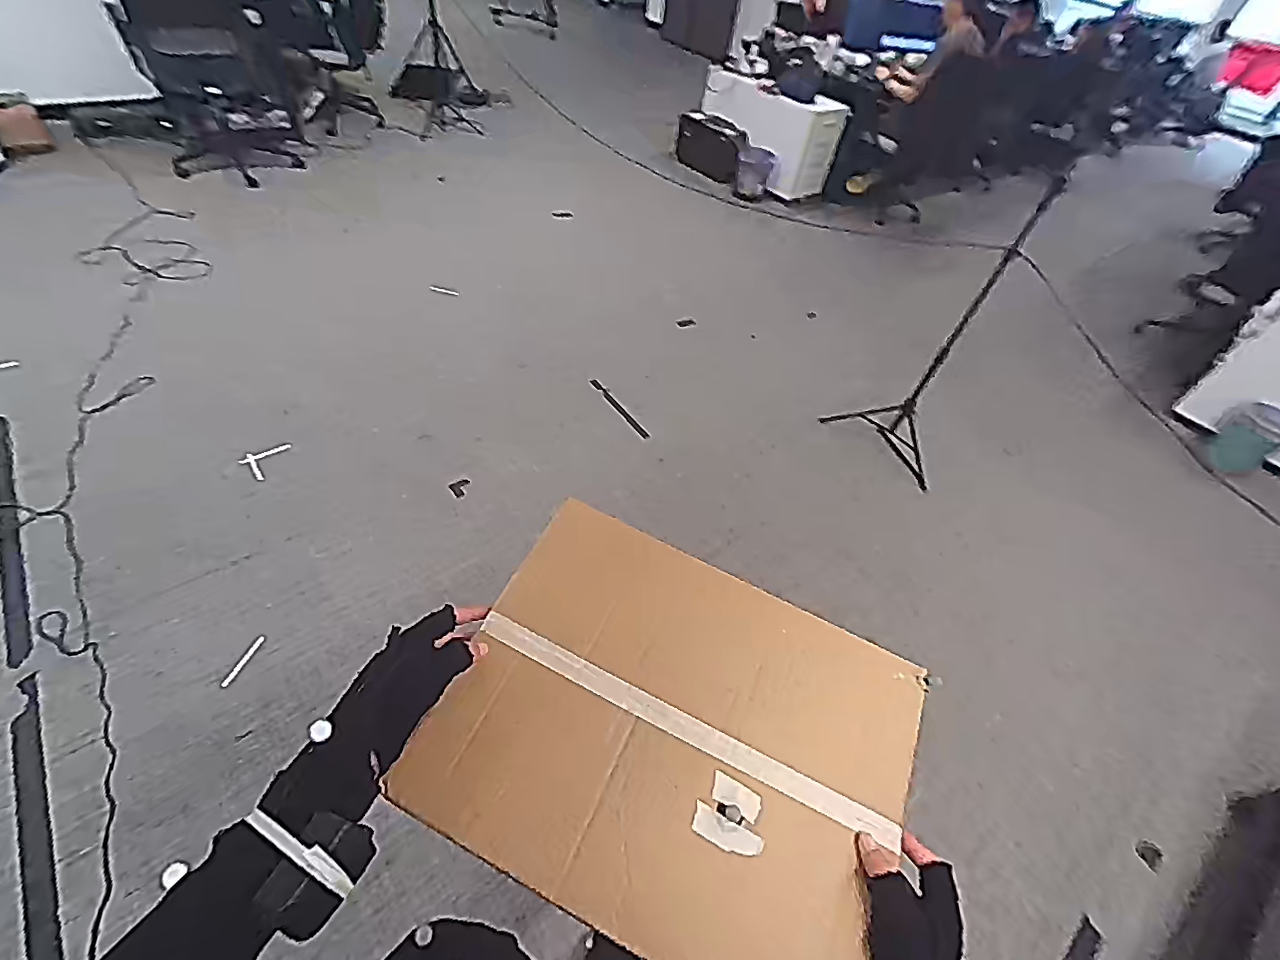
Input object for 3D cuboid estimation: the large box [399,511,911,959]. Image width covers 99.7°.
[{"bbox_3d":[0.019,0.303,0.624,0.408,0.320,0.320,25,59,8],"label":"large box"}]
